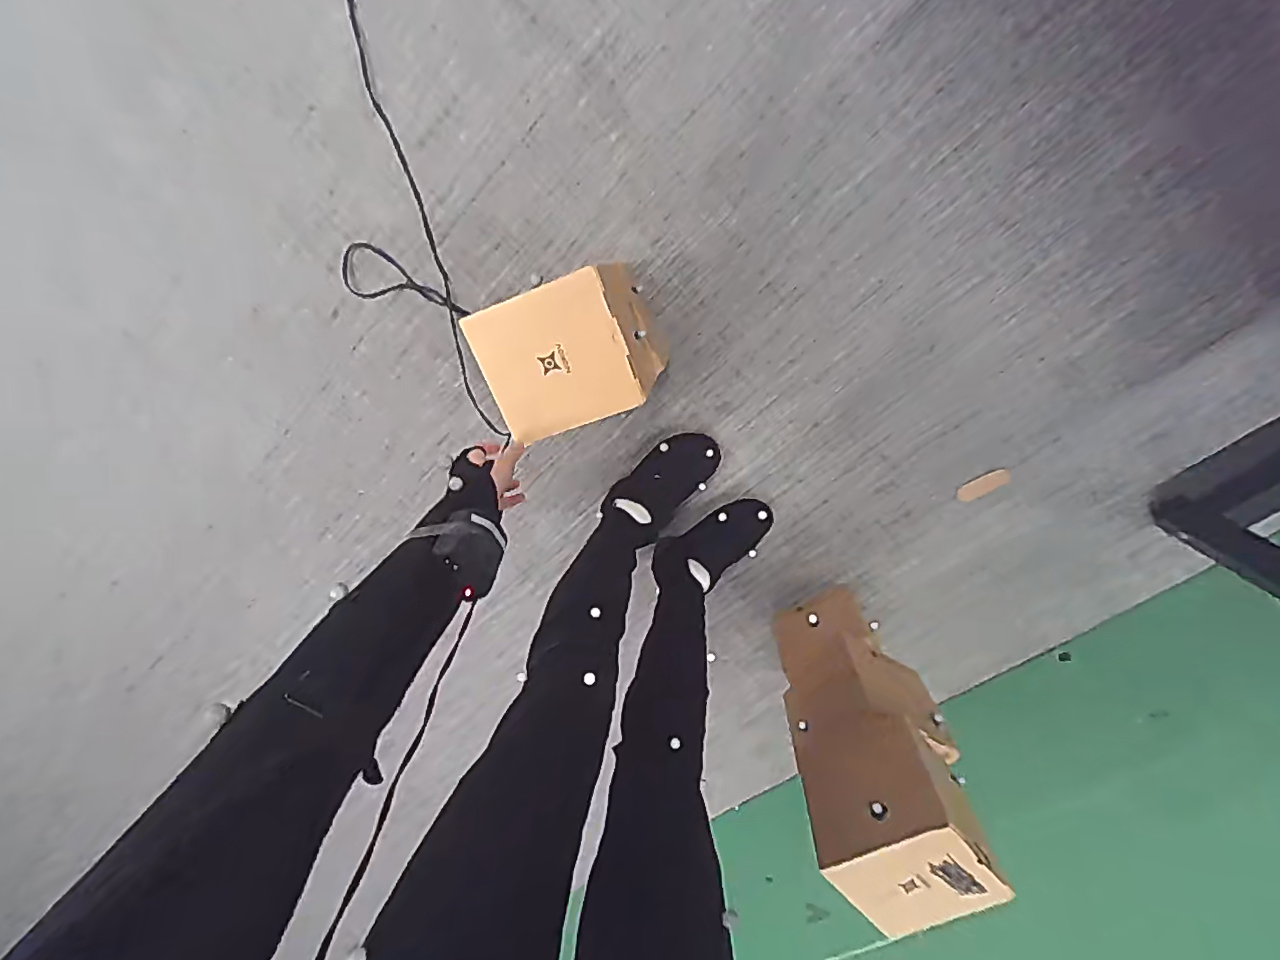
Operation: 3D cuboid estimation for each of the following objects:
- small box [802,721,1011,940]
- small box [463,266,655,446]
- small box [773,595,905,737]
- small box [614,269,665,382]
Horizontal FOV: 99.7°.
[{"bbox_3d":[0.345,0.468,0.738,0.179,0.176,0.168,-36,105,19],"label":"small box"},{"bbox_3d":[-0.091,-0.164,0.704,0.179,0.176,0.168,-17,108,12],"label":"small box"},{"bbox_3d":[0.372,0.347,1.043,0.168,0.176,0.179,-28,106,17],"label":"small box"},{"bbox_3d":[-0.069,-0.220,0.854,0.179,0.176,0.168,-23,108,15],"label":"small box"}]
